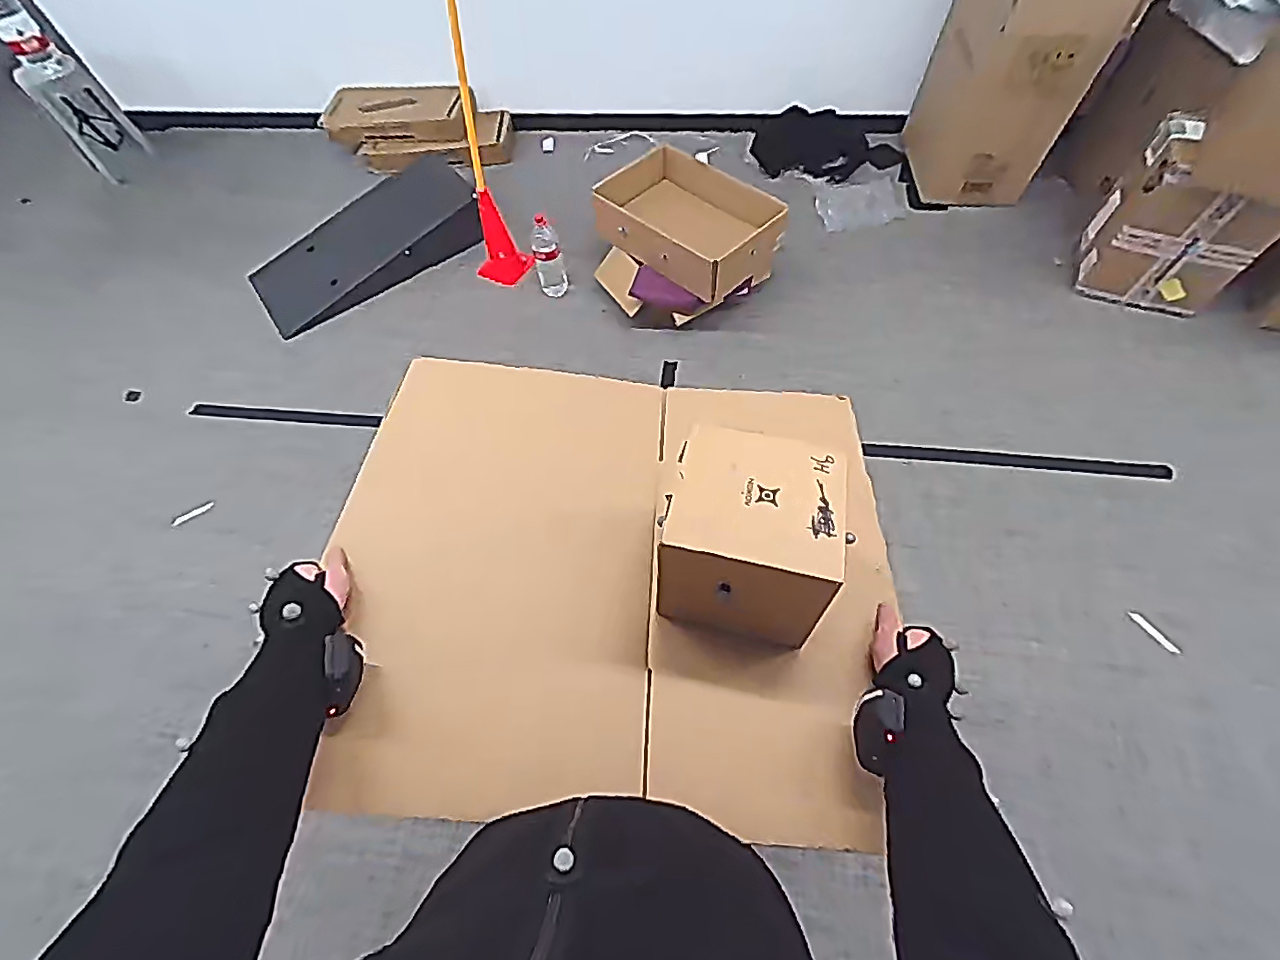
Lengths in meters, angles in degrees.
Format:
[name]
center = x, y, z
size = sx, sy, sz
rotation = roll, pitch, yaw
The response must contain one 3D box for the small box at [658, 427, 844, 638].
[small box]
center = 0.123, 0.065, 0.625
size = 0.179, 0.176, 0.168
rotation = 10, 55, 9
